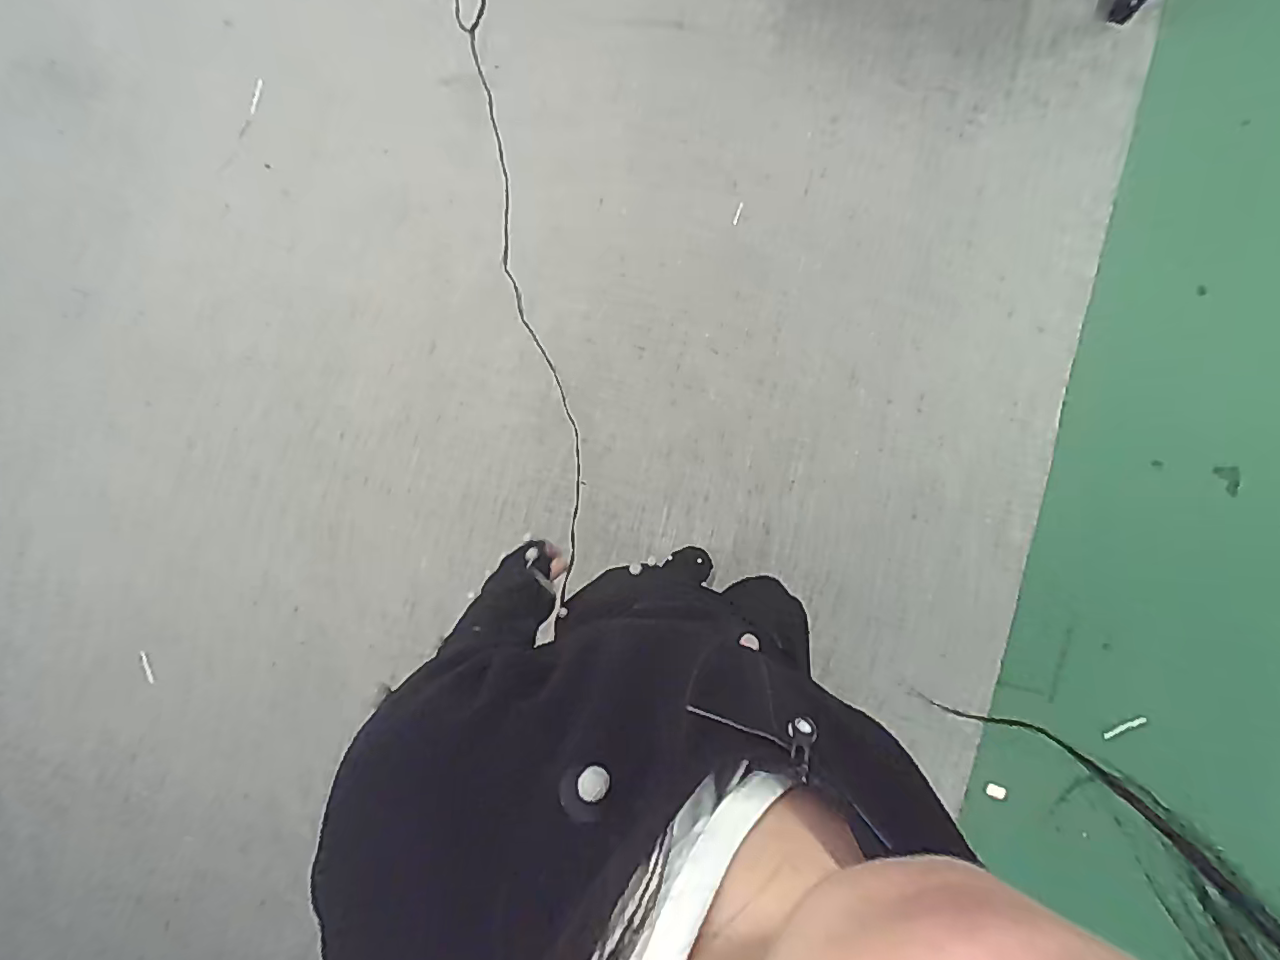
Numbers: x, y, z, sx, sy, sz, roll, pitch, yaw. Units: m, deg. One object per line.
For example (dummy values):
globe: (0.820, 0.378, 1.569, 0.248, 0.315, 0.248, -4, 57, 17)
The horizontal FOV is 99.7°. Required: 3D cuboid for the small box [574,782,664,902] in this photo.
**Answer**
small box: (-0.048, 0.912, 1.384, 0.179, 0.176, 0.168, 22, 87, 4)
